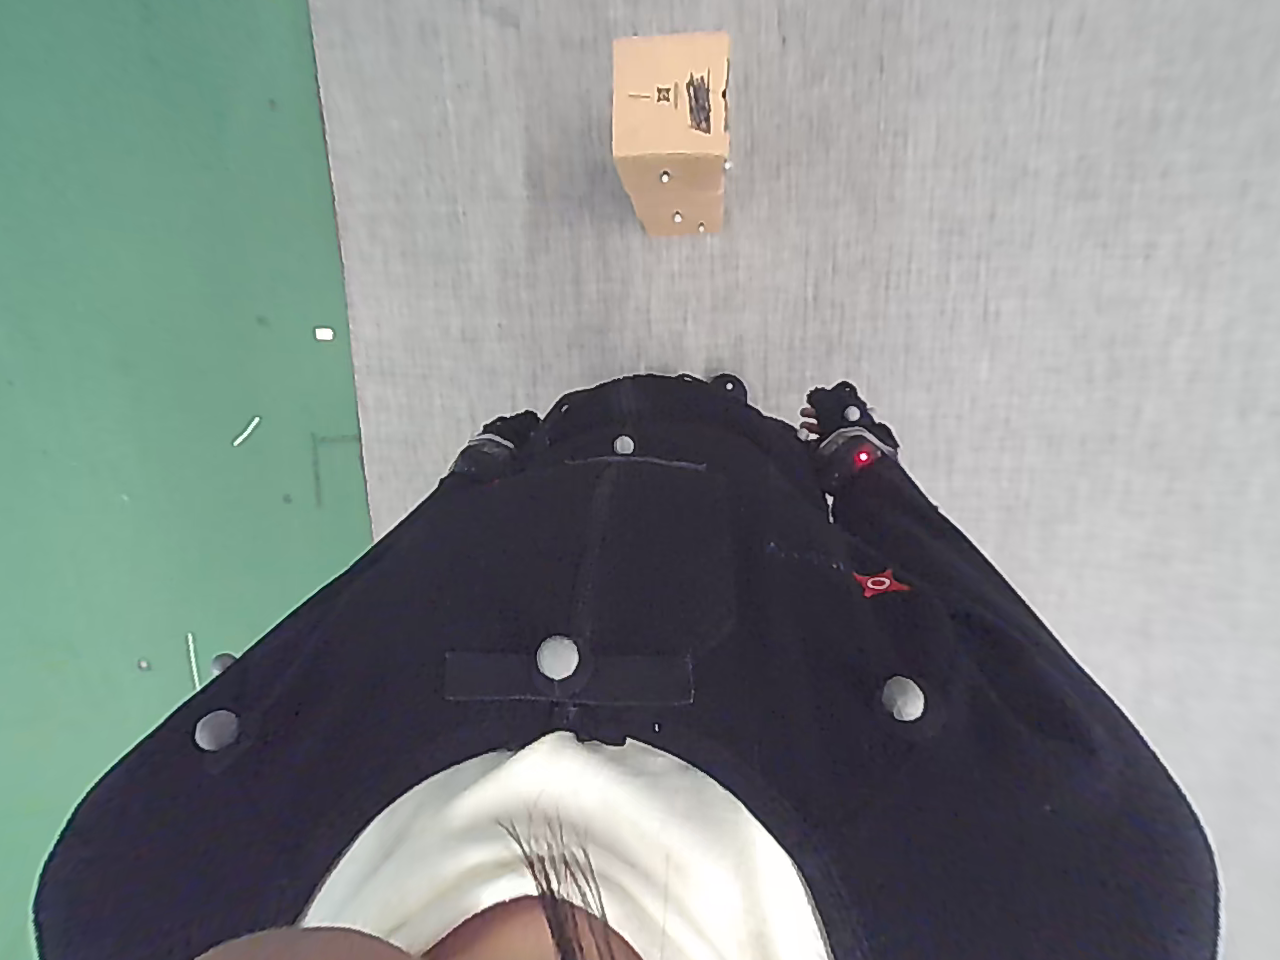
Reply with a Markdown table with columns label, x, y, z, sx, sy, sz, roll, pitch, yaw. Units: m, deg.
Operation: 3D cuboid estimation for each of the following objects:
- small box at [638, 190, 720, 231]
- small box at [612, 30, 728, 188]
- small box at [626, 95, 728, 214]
| label | x | y | z | sx | sy | sz | roll | pitch | yaw |
| --- | --- | --- | --- | --- | --- | --- | --- | --- | --- |
| small box | 0.090 | -0.669 | 1.213 | 0.179 | 0.176 | 0.168 | 1 | 101 | 8 |
| small box | 0.050 | -0.599 | 0.895 | 0.179 | 0.176 | 0.168 | 0 | 102 | 5 |
| small box | 0.071 | -0.630 | 1.055 | 0.179 | 0.176 | 0.168 | 5 | 102 | 5 |
